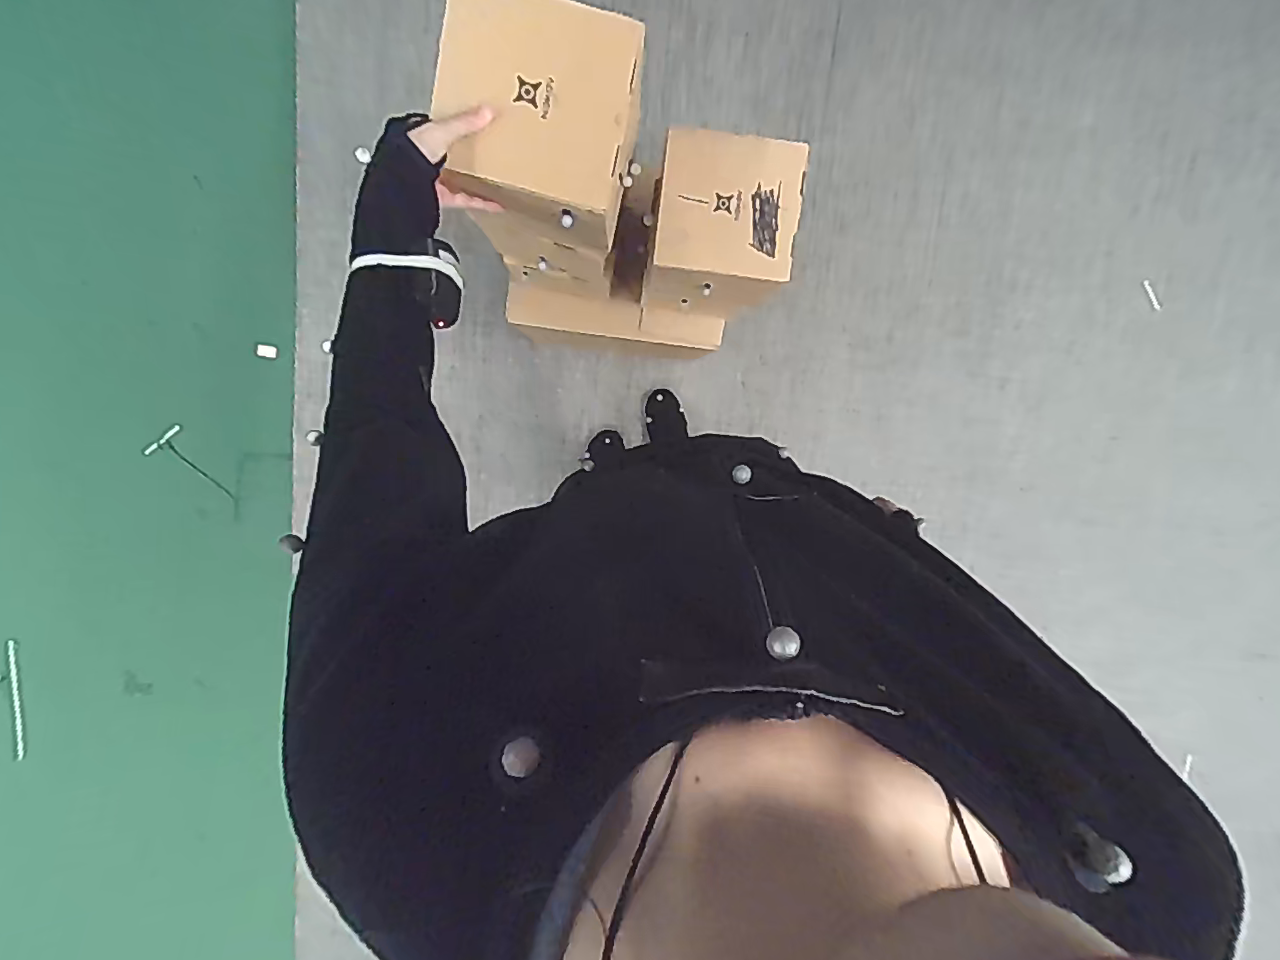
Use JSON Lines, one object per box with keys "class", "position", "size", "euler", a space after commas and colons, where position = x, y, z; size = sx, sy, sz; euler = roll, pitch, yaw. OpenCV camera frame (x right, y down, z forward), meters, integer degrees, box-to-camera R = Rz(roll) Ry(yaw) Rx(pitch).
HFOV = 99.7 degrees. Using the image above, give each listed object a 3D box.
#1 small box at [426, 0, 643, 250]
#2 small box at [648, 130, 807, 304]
{"class": "small box", "position": [-0.101, -0.362, 0.575], "size": [0.179, 0.176, 0.168], "euler": [12, 99, -4]}
{"class": "small box", "position": [0.108, -0.347, 0.748], "size": [0.179, 0.176, 0.168], "euler": [7, 98, -1]}
